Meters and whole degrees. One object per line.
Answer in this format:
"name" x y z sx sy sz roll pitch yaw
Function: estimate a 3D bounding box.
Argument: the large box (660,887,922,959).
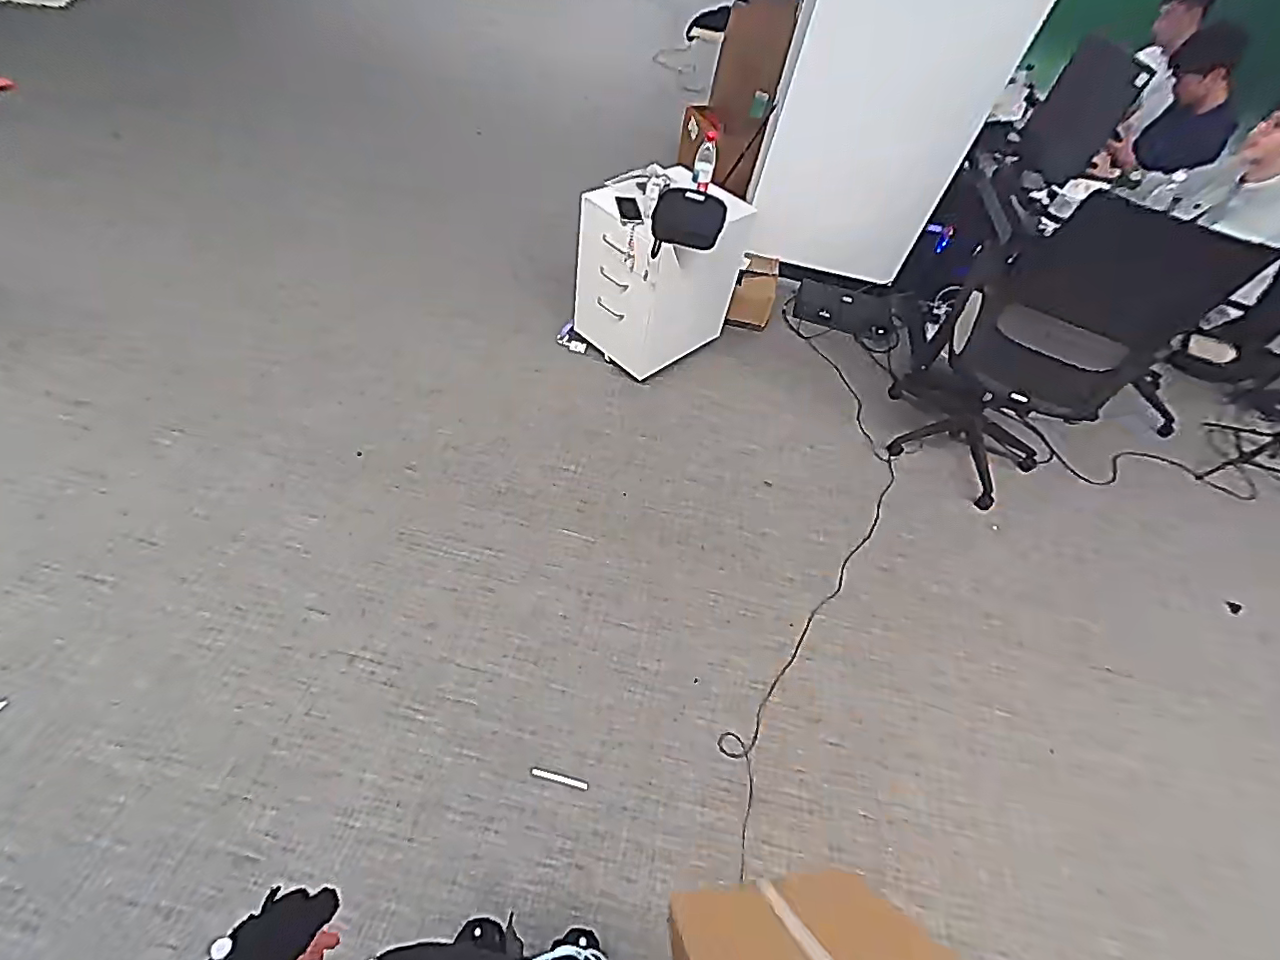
"large box" 0.217 0.763 0.643 0.320 0.408 0.320 -1 74 -9
